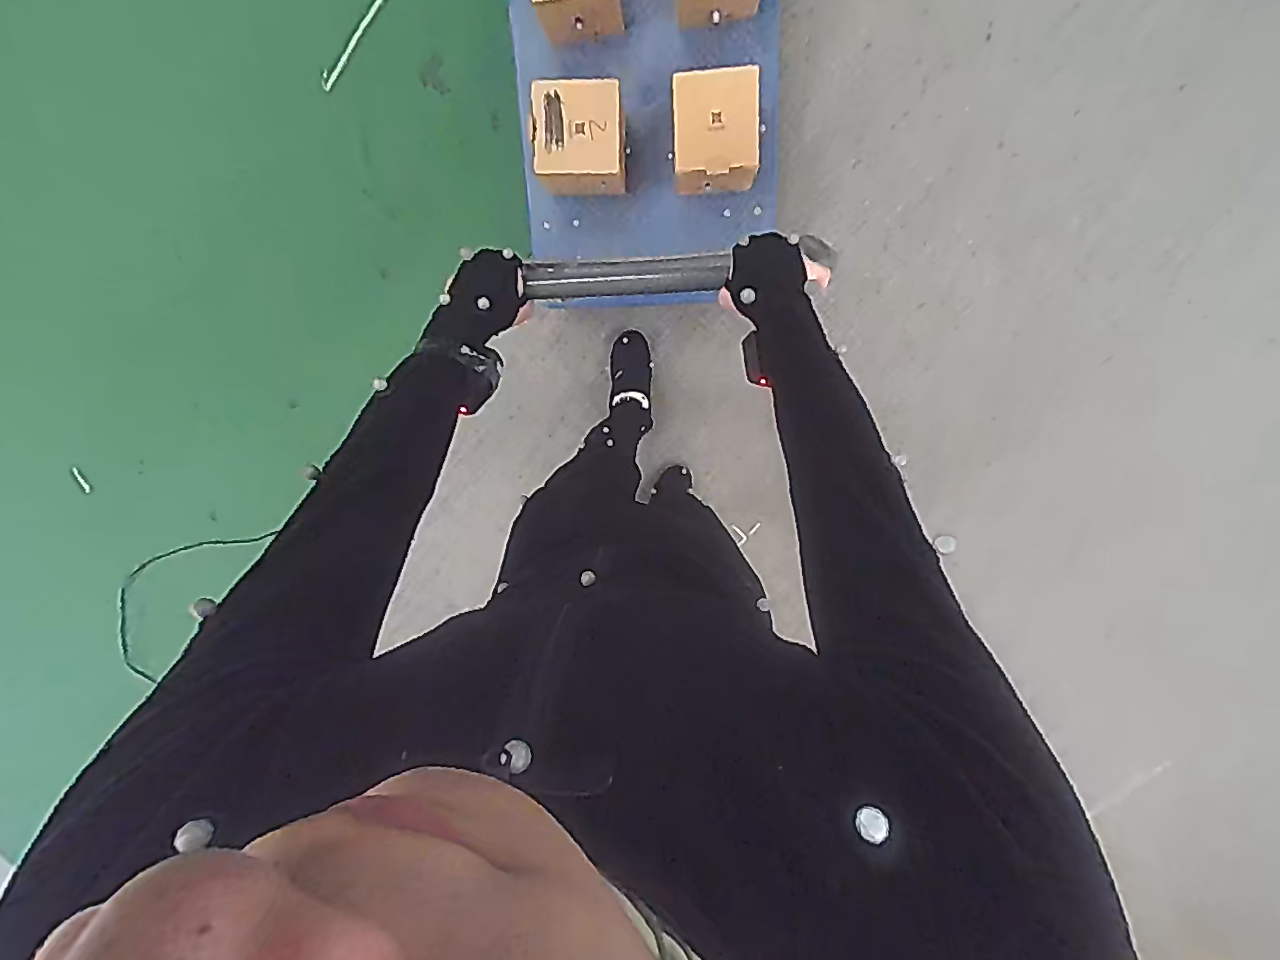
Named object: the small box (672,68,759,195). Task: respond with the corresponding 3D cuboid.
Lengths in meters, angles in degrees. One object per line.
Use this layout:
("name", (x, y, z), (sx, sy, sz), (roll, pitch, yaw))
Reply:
("small box", (0.151, -0.715, 1.126), (0.168, 0.176, 0.179), (-2, 105, 4))

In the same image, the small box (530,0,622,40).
("small box", (-0.131, -1.006, 1.062), (0.168, 0.176, 0.179), (-6, 105, 4))

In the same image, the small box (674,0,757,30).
("small box", (0.144, -1.022, 1.041), (0.168, 0.176, 0.179), (-6, 106, 6))
